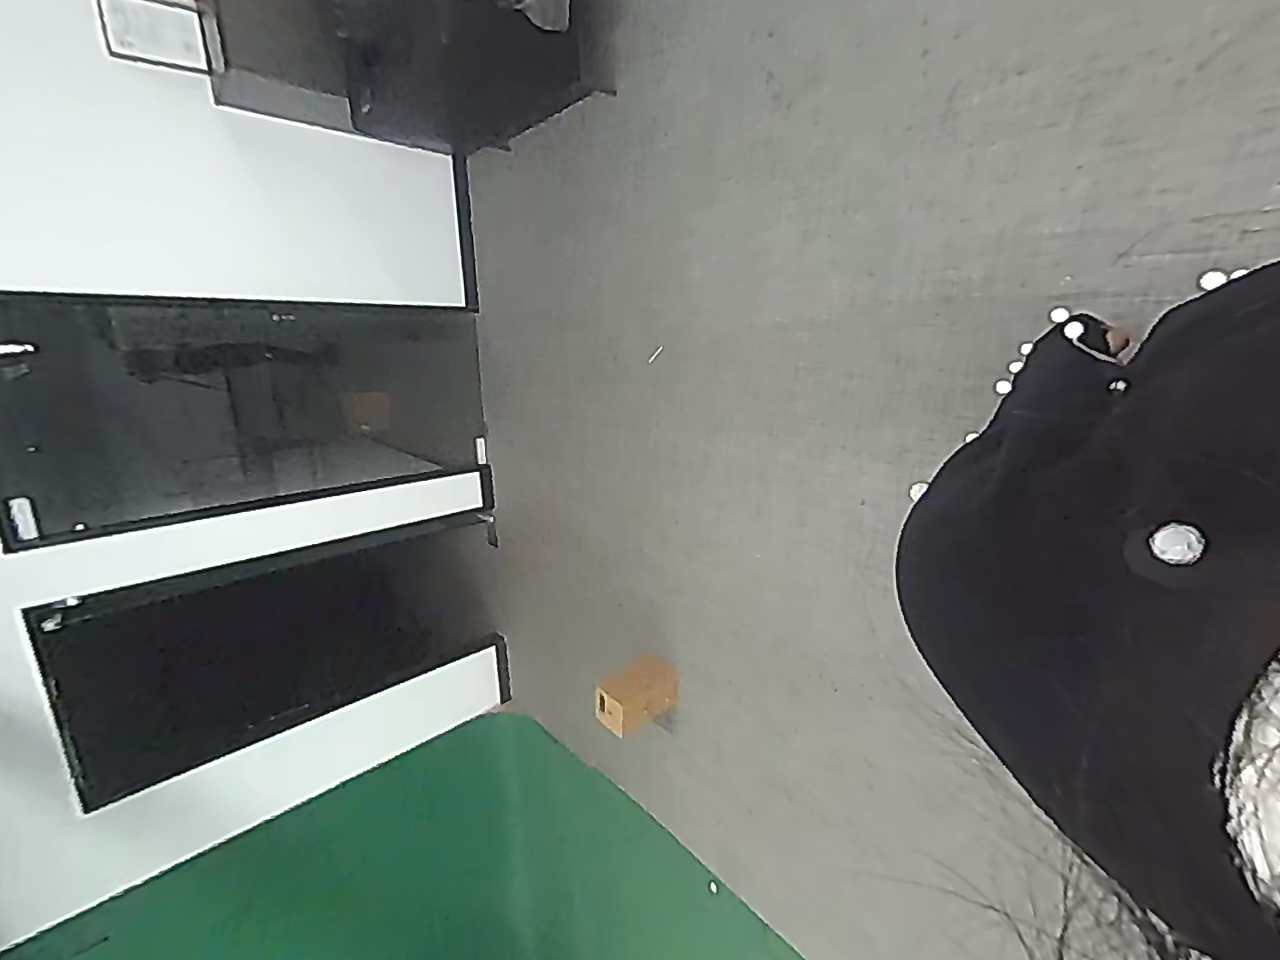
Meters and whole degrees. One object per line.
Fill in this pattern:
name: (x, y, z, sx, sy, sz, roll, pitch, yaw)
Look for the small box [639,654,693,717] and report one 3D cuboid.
small box: (0.116, 0.908, 2.414, 0.179, 0.176, 0.168, 22, 117, 44)
